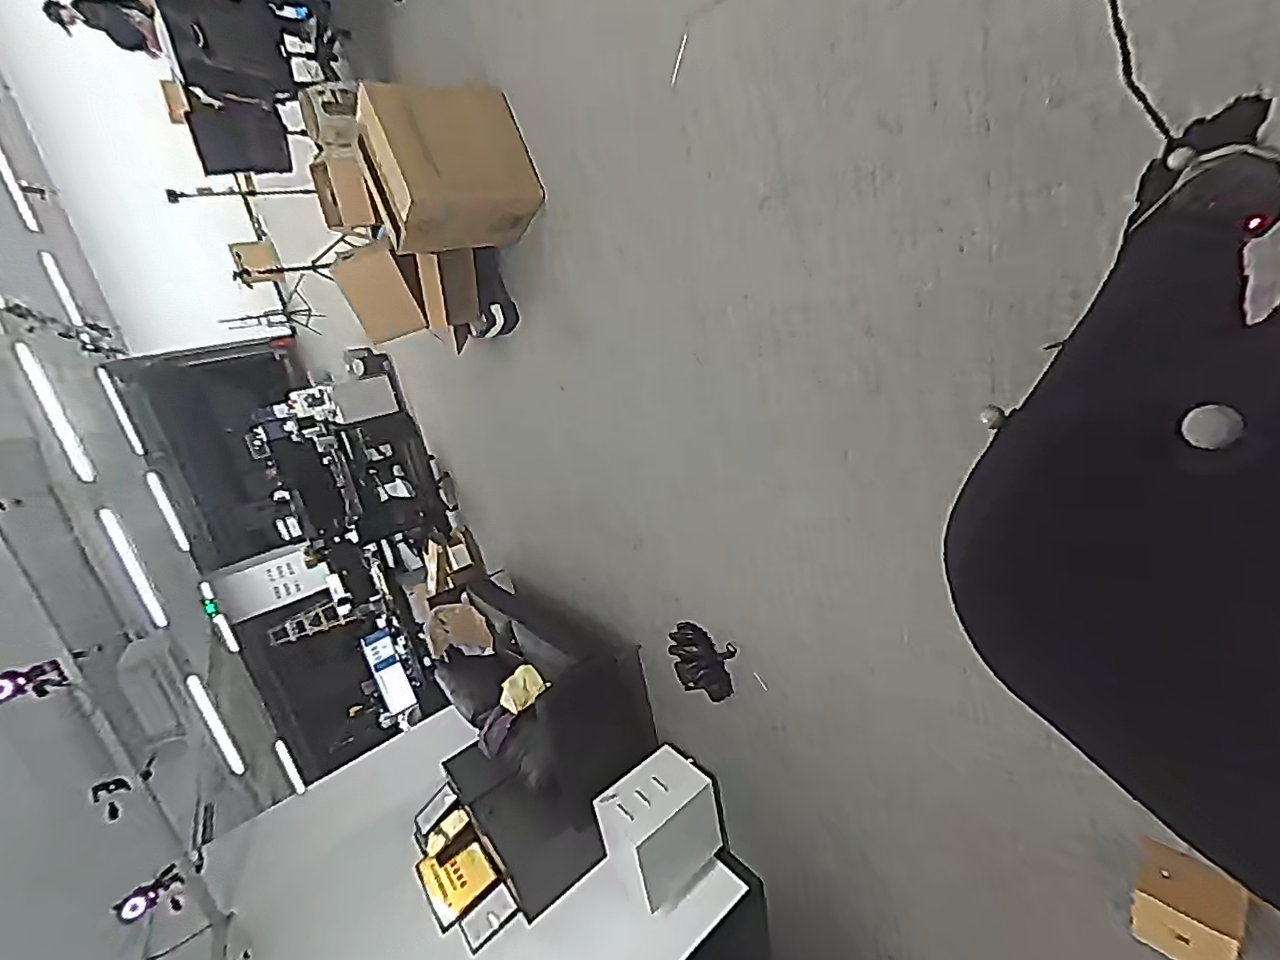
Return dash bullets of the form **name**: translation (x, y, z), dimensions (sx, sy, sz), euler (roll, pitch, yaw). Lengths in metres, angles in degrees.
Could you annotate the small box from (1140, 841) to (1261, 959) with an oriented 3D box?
- **small box**: translation (1.335, 1.014, 1.292), dimensions (0.179, 0.176, 0.168), euler (8, 117, 52)
